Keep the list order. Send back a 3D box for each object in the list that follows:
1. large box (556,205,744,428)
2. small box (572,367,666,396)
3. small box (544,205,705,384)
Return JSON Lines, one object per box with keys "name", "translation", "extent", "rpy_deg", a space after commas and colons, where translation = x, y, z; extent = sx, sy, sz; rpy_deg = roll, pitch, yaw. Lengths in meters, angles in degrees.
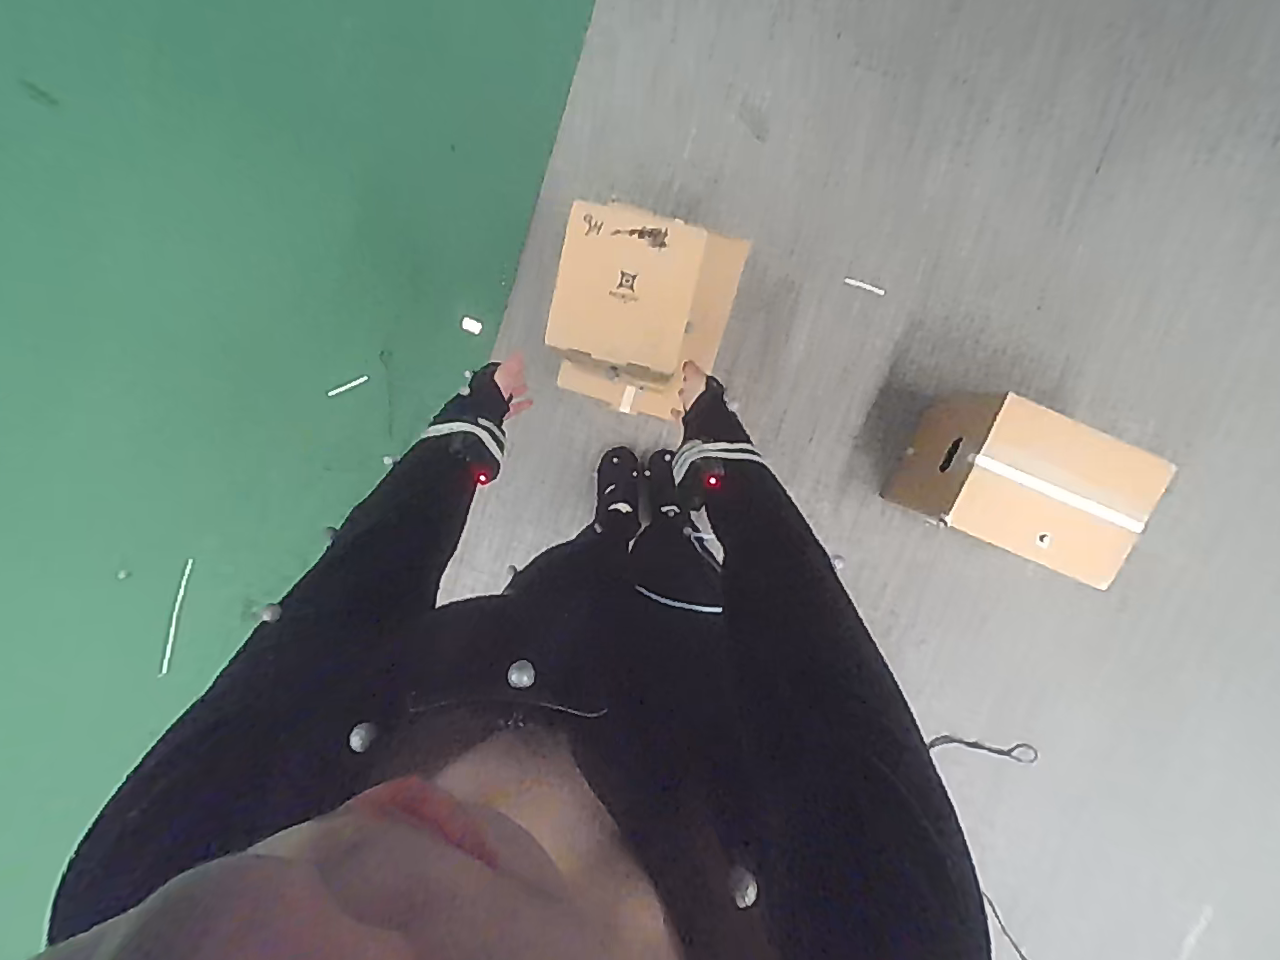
{"name": "large box", "translation": [0.021, -0.355, 1.290], "extent": [0.320, 0.320, 0.408], "rpy_deg": [17, 96, -2]}
{"name": "small box", "translation": [-0.019, -0.265, 1.056], "extent": [0.179, 0.176, 0.168], "rpy_deg": [16, 96, 0]}
{"name": "small box", "translation": [-0.018, -0.232, 0.729], "extent": [0.168, 0.176, 0.179], "rpy_deg": [14, 97, -1]}
